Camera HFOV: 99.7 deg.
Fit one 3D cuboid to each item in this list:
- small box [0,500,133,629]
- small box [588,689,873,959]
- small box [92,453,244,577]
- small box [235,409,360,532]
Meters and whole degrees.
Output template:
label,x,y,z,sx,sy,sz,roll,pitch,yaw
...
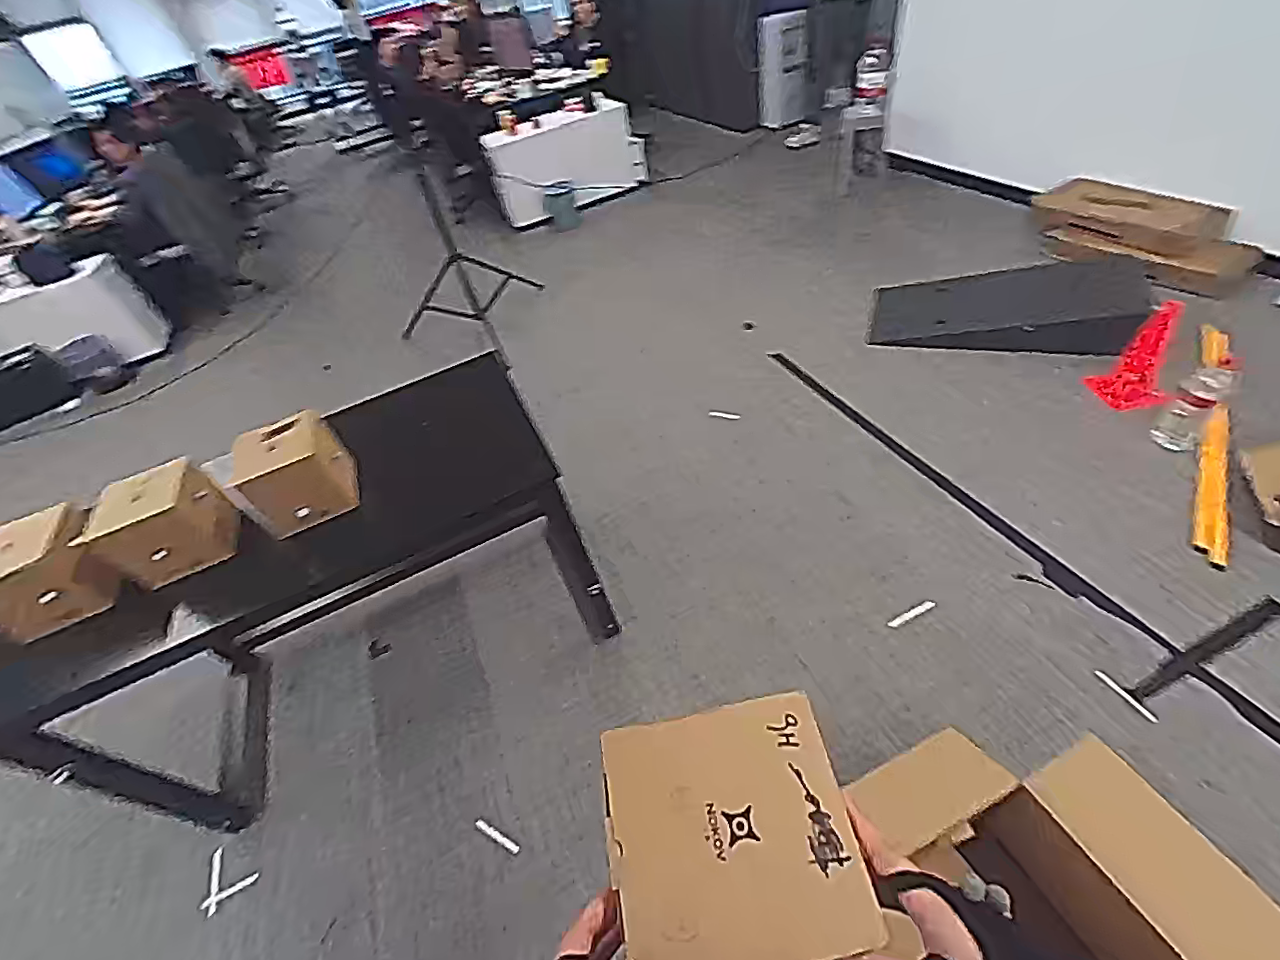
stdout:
label,x,y,z,sx,sy,sz,roll,pitch,yaw
small box,-1.195,0.180,1.106,0.168,0.176,0.179,-24,45,-12
small box,0.065,0.300,0.459,0.179,0.176,0.168,-12,54,-1
small box,-0.980,0.081,1.145,0.168,0.176,0.179,-24,46,-10
small box,-0.738,-0.020,1.185,0.168,0.176,0.179,-24,47,-10
